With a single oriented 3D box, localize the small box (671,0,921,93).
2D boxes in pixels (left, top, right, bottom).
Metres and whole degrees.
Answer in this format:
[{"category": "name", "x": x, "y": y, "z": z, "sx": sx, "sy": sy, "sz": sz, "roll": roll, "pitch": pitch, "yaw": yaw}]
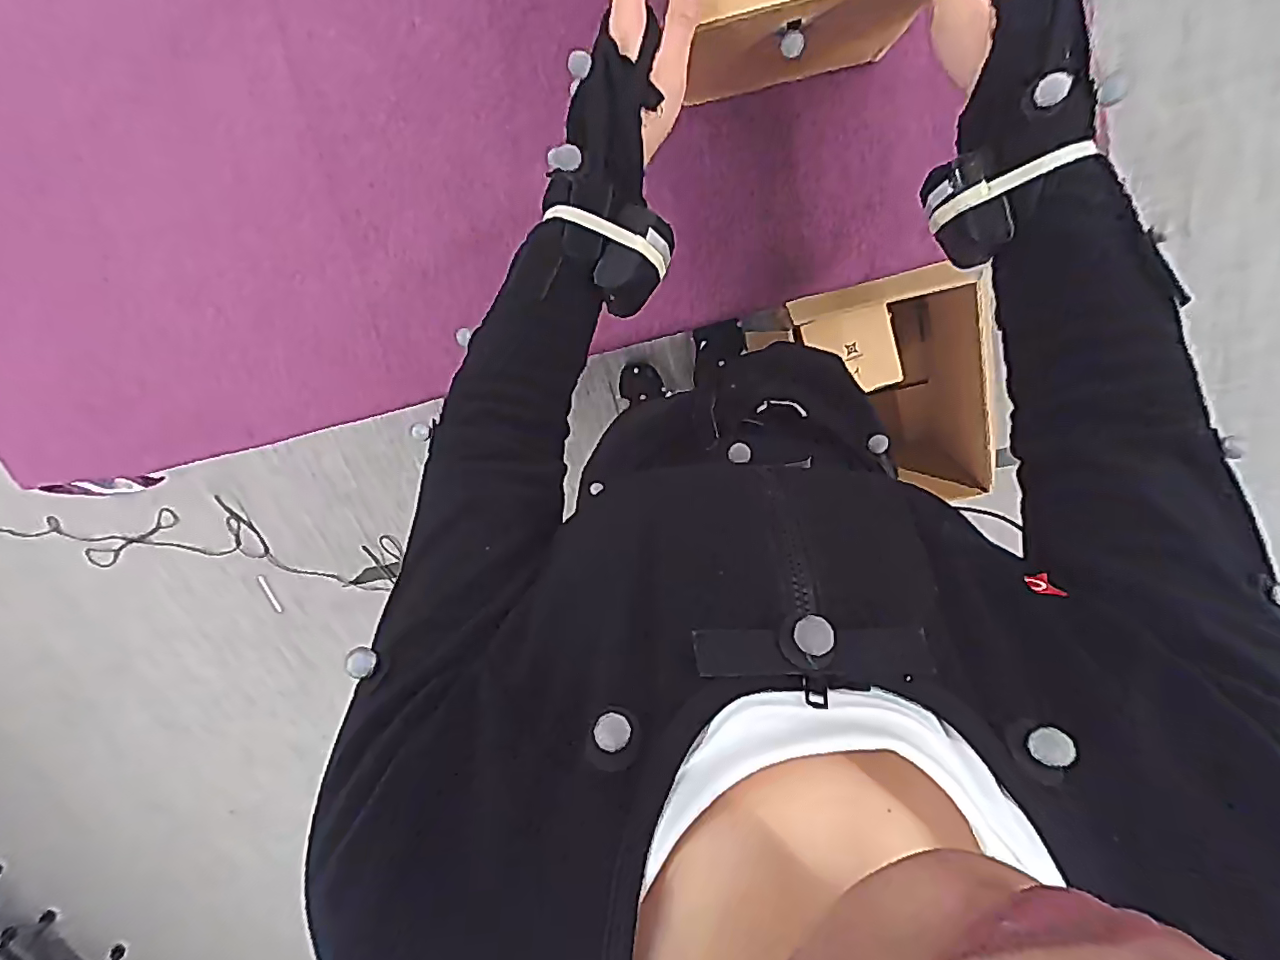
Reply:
[{"category": "small box", "x": 0.103, "y": -0.401, "z": 0.374, "sx": 0.179, "sy": 0.176, "sz": 0.168, "roll": -7, "pitch": 111, "yaw": 10}]
